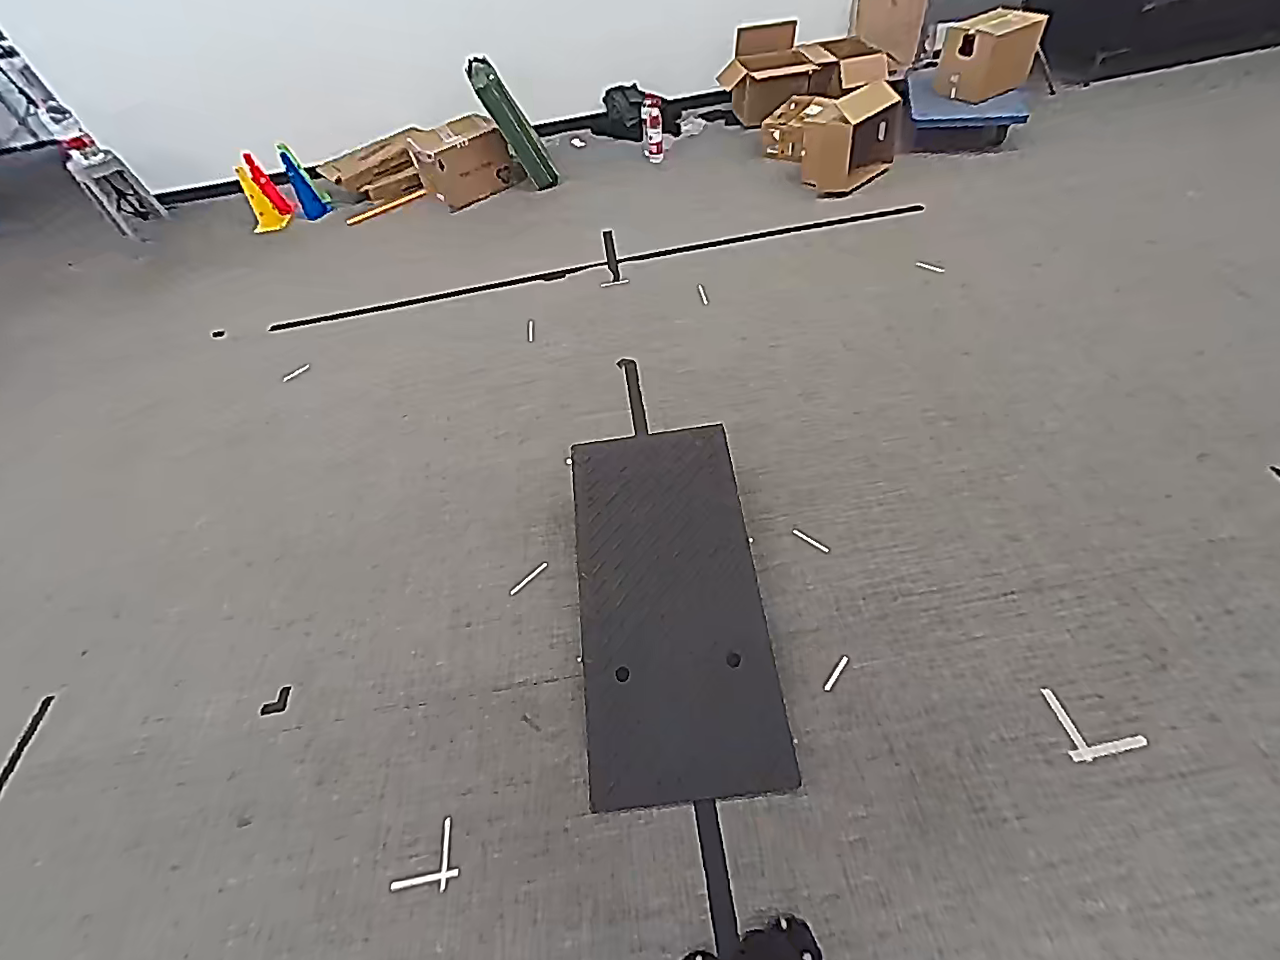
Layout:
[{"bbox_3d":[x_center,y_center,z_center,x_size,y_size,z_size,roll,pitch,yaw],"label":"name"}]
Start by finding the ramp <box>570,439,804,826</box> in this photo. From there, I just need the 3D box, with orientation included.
[{"bbox_3d":[0.080,0.335,1.489,0.509,0.206,0.991,-10,50,0],"label":"ramp"}]
